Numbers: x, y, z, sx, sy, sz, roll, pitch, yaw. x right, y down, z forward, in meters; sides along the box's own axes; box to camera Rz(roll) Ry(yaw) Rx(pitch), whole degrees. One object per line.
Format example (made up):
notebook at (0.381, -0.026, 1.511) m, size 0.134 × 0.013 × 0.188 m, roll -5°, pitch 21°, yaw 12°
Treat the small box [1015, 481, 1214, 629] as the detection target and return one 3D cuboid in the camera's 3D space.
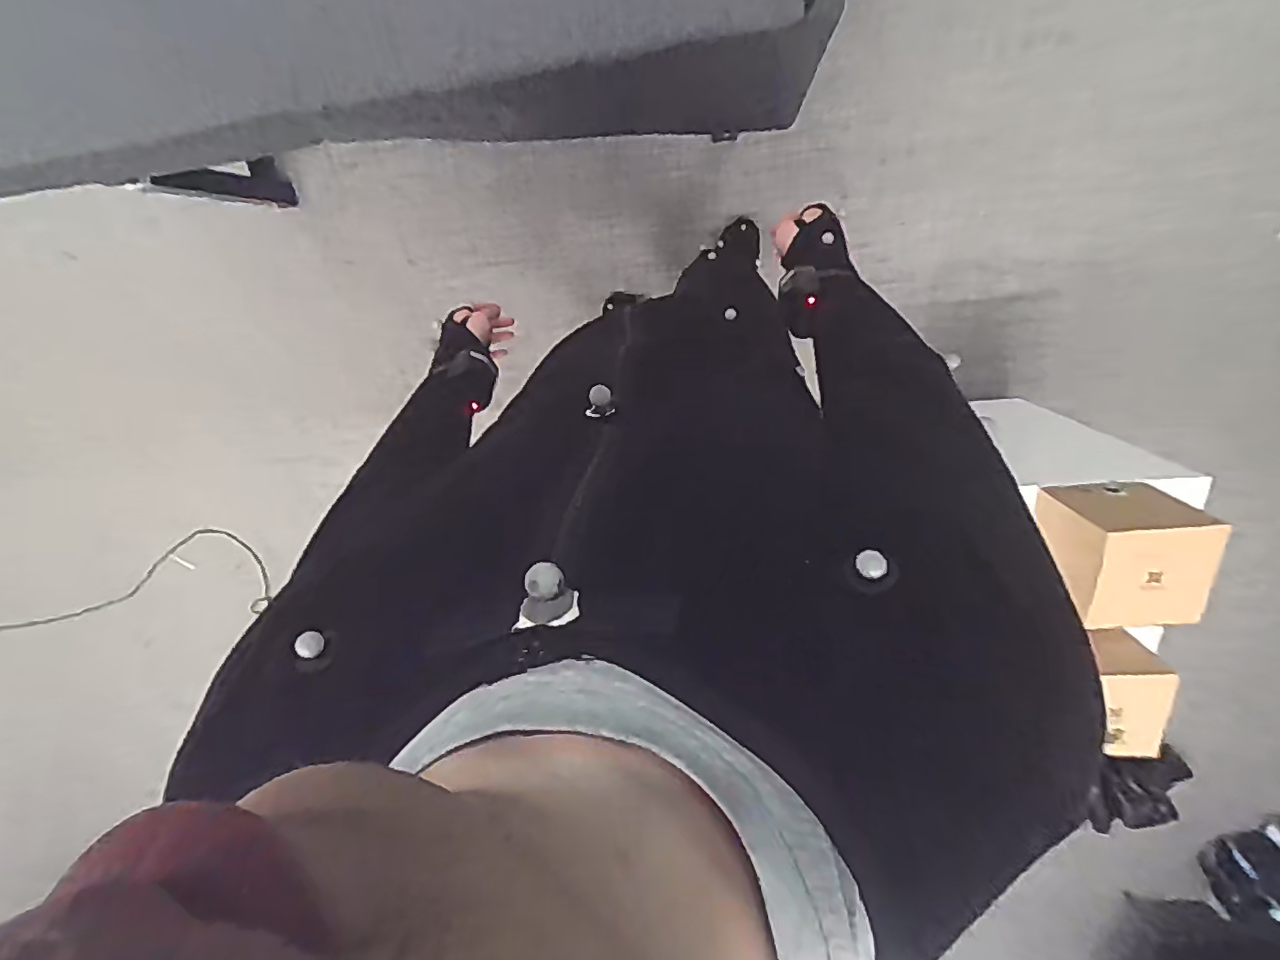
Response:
small box at (0.753, 0.118, 0.884) m, size 0.168 × 0.176 × 0.179 m, roll -6°, pitch 111°, yaw 4°
